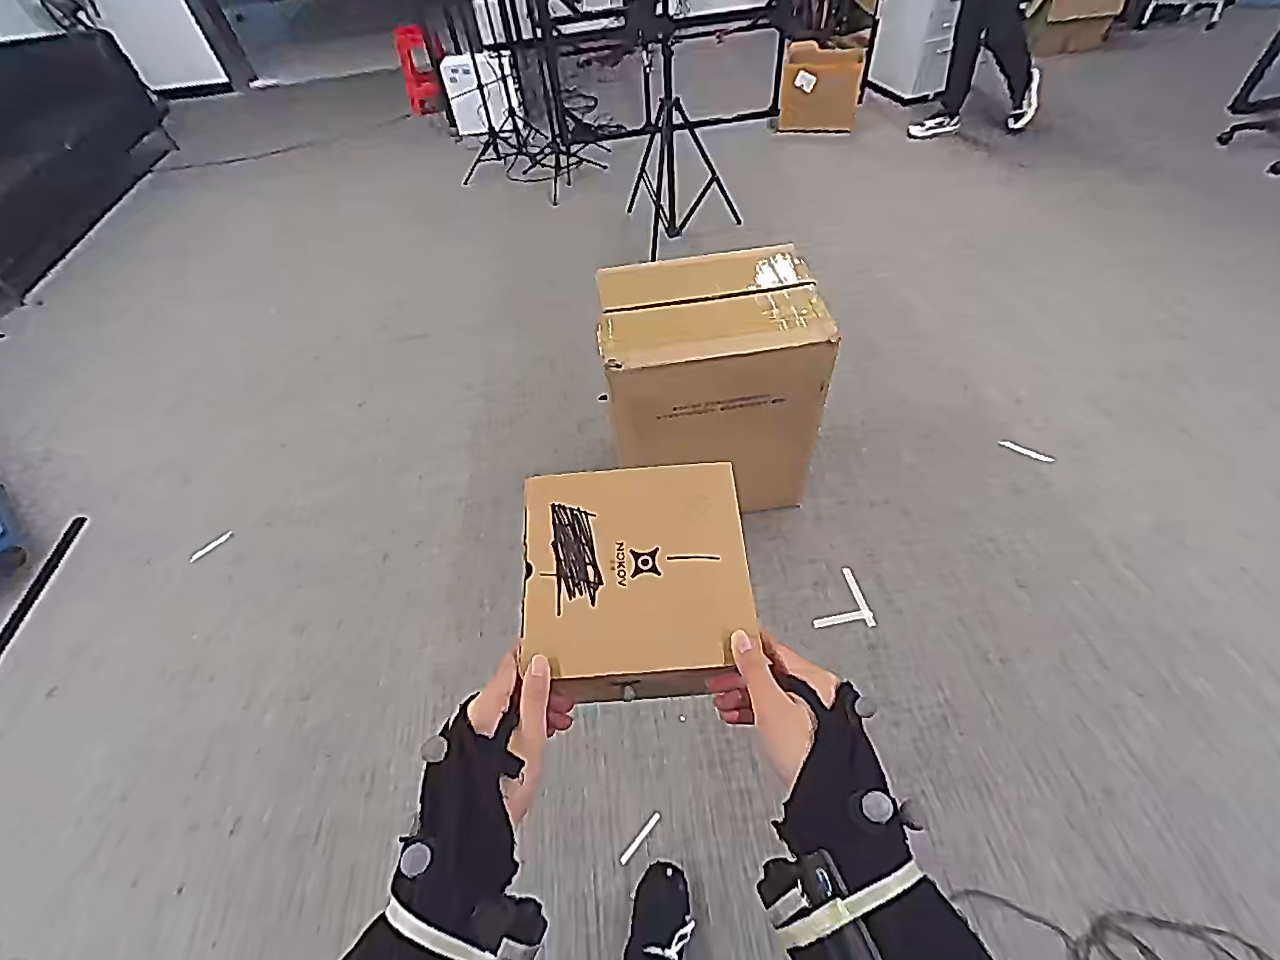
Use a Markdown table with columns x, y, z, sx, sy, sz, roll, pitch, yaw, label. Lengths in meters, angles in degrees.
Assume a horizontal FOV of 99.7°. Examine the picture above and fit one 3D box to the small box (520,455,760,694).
| x | y | z | sx | sy | sz | roll | pitch | yaw | label |
| --- | --- | --- | --- | --- | --- | --- | --- | --- | --- |
| -0.001 | 0.095 | 0.493 | 0.179 | 0.176 | 0.168 | -4 | 62 | 0 | small box |
